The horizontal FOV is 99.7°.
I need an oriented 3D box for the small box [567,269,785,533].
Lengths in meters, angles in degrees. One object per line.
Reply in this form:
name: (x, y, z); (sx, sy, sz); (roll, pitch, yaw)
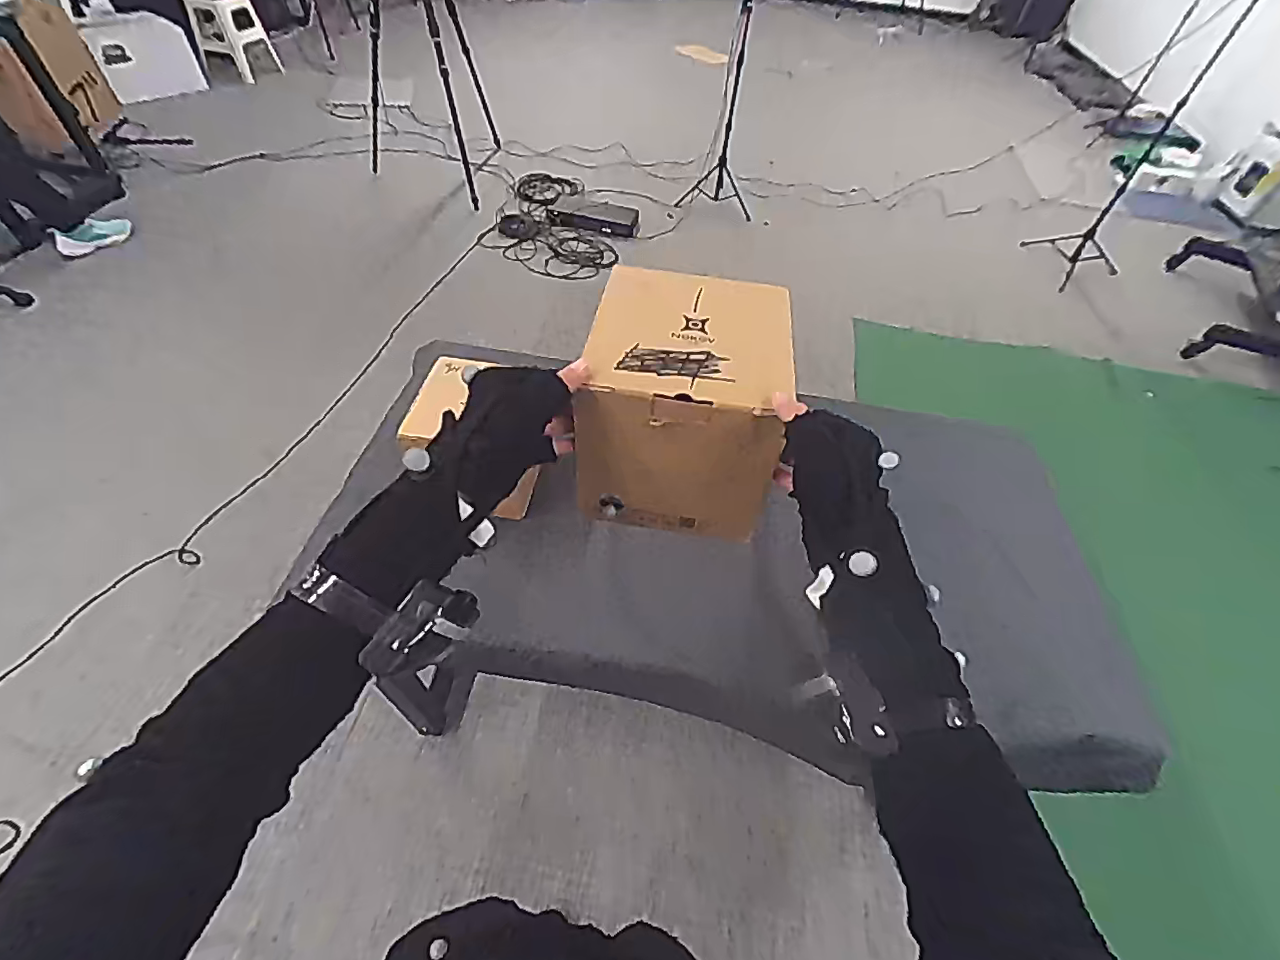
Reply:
small box: (0.035, -0.071, 0.511); (0.168, 0.176, 0.179); (9, 49, 3)

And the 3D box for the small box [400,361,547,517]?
small box: (-0.250, -0.061, 0.864); (0.168, 0.176, 0.179); (8, 51, 1)
